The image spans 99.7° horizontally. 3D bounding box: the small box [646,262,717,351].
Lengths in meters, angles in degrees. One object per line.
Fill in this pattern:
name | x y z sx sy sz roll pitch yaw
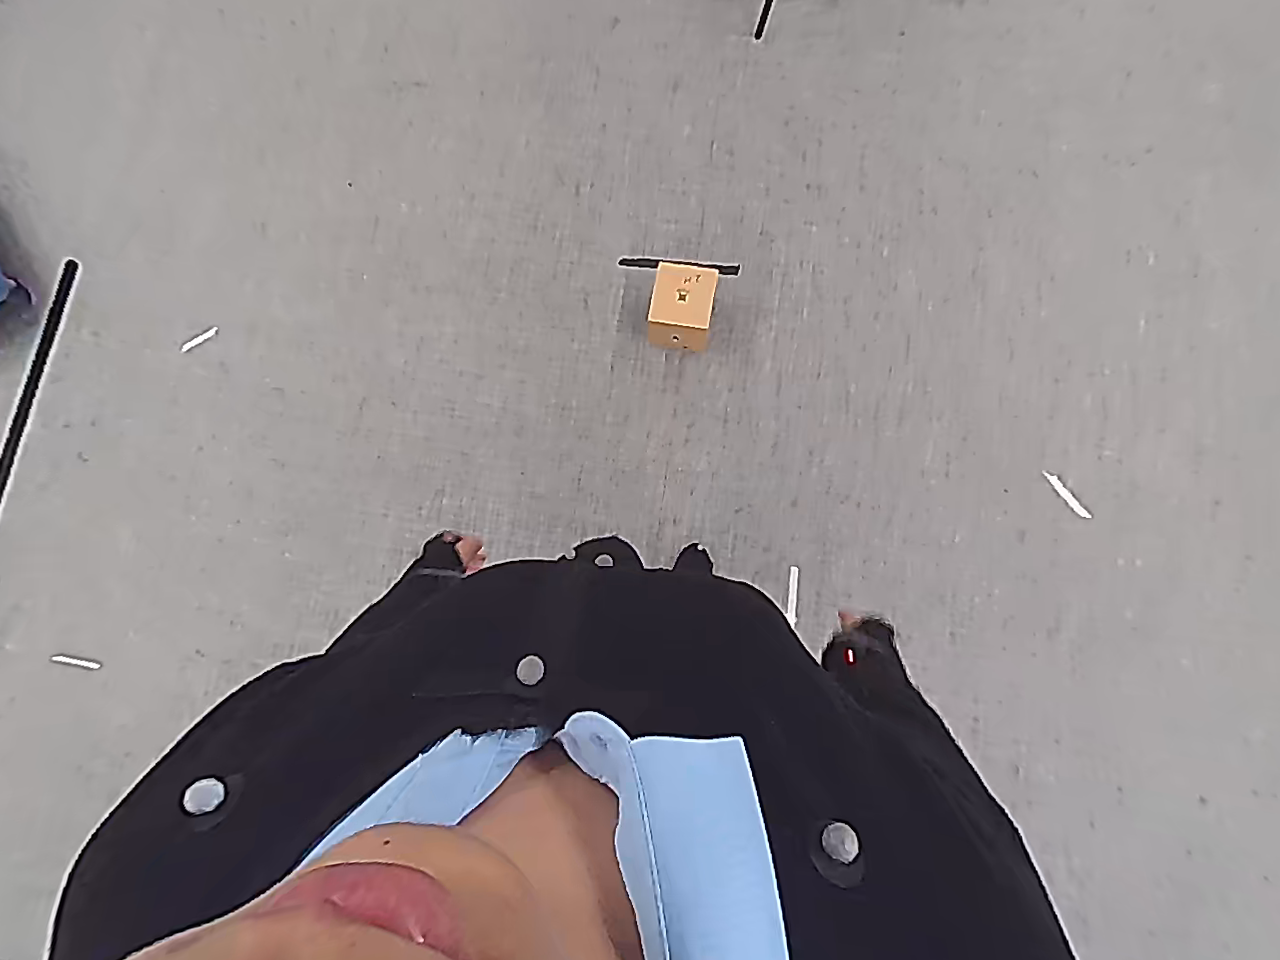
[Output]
small box | 0.119 -0.481 1.526 0.168 0.176 0.179 11 82 5
